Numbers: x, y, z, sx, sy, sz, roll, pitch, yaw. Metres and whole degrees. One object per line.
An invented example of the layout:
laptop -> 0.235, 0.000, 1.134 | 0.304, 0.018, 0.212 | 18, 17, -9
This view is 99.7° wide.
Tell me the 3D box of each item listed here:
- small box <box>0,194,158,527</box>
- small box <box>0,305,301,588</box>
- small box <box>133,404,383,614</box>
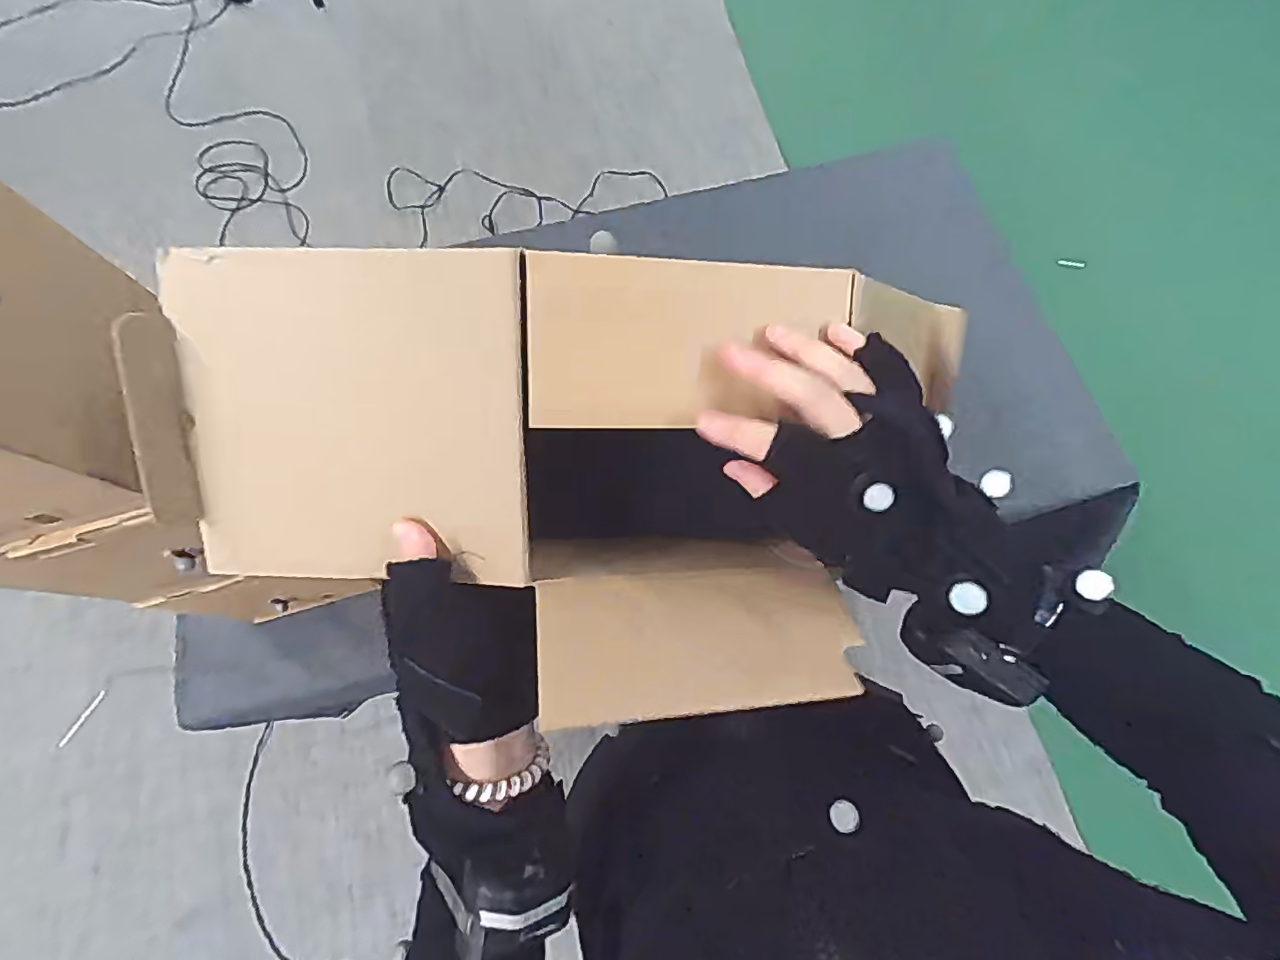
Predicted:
small box -> -0.426, -0.071, 0.311 | 0.168, 0.176, 0.179 | -16, 72, -5
small box -> -0.421, -0.013, 0.464 | 0.168, 0.176, 0.179 | -14, 72, -4
small box -> -0.419, 0.042, 0.617 | 0.168, 0.176, 0.179 | -16, 72, -4
